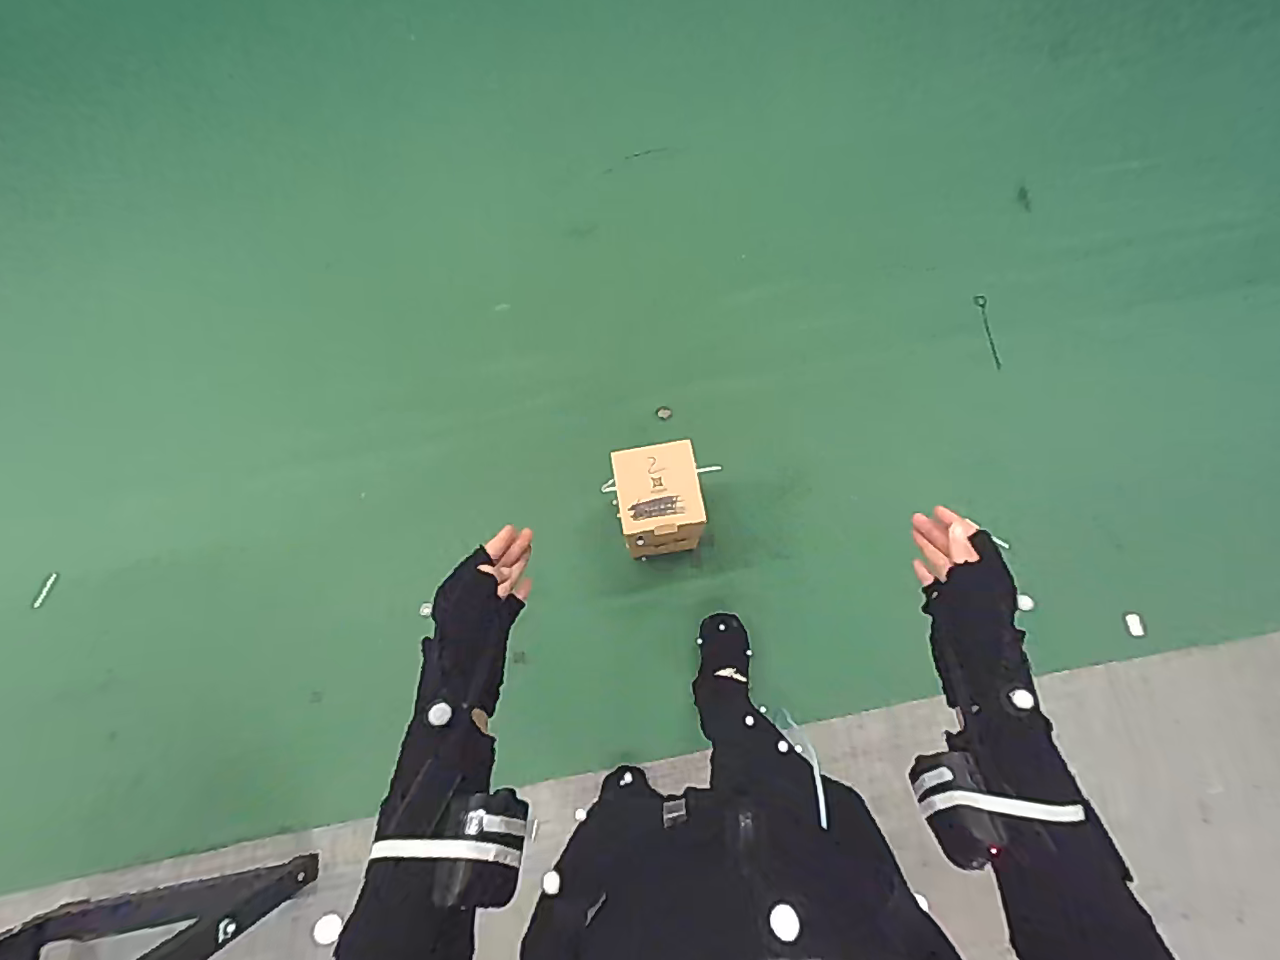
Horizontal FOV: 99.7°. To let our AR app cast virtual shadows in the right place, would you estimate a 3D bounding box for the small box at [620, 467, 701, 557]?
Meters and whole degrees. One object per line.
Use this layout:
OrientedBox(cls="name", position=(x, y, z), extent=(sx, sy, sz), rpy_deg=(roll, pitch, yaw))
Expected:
OrientedBox(cls="small box", position=(0.050, 0.084, 1.305), extent=(0.168, 0.176, 0.179), rpy_deg=(-9, 73, 0))
